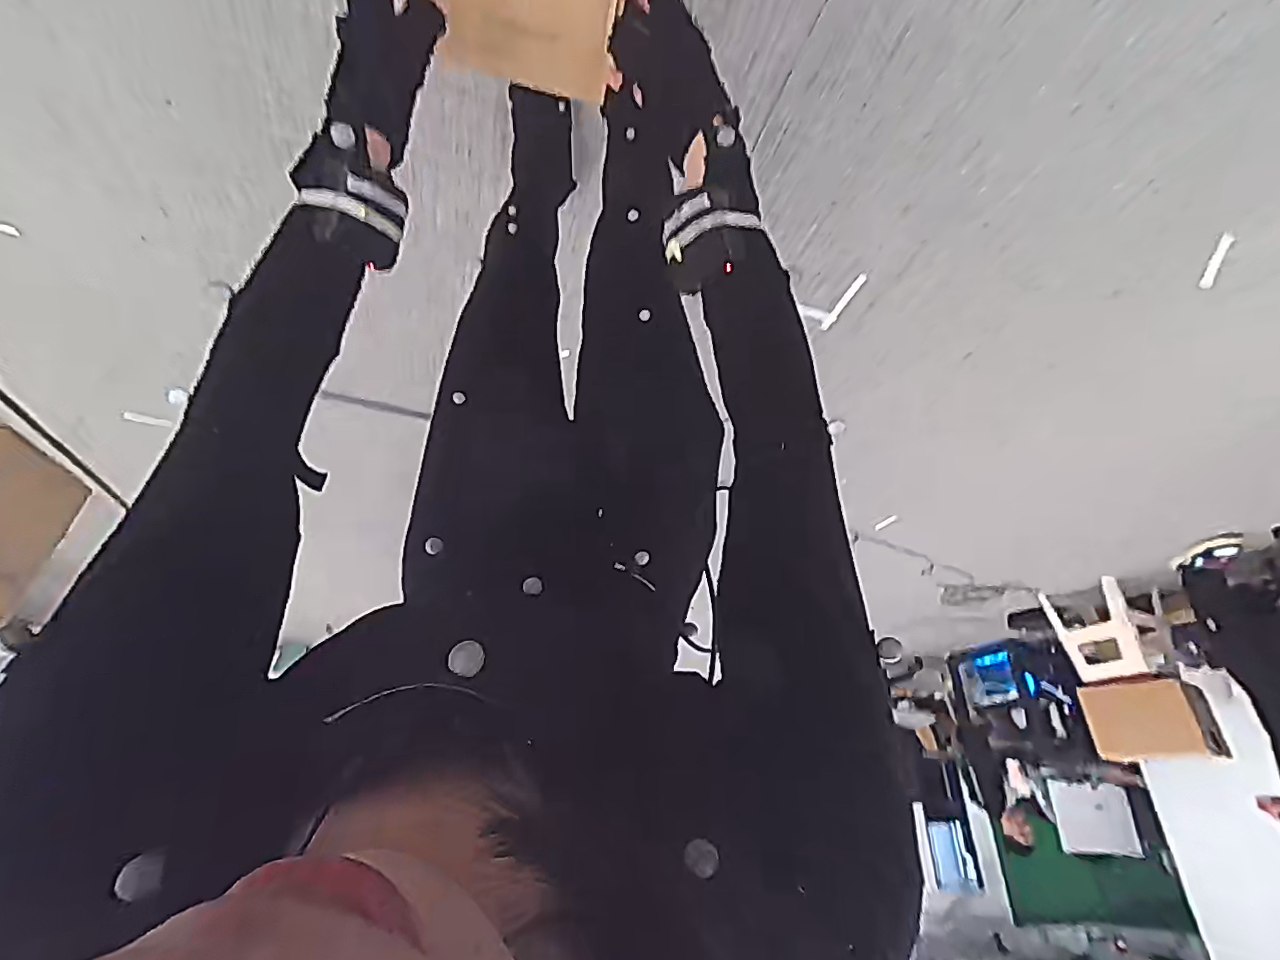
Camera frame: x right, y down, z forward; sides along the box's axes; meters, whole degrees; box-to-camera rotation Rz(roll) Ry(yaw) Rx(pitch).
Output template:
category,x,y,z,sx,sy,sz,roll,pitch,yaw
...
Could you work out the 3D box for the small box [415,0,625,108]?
category,x,y,z,sx,sy,sz,roll,pitch,yaw
small box,-0.087,-0.465,0.449,0.168,0.176,0.179,10,152,-9
